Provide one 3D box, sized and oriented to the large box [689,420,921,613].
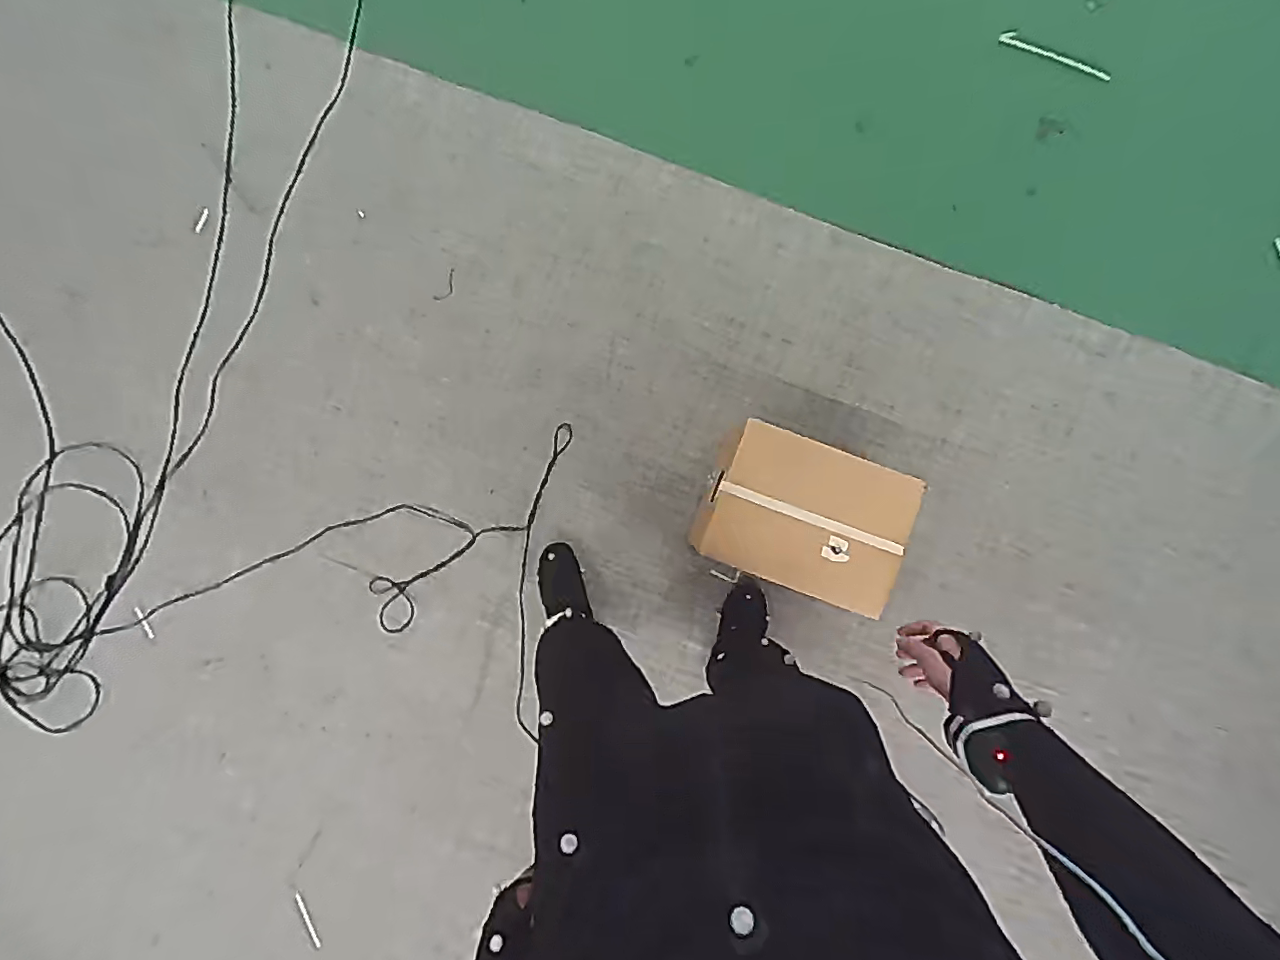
[{"bbox_3d":[0.362,0.084,1.295,0.408,0.320,0.320,20,88,1],"label":"large box"}]
